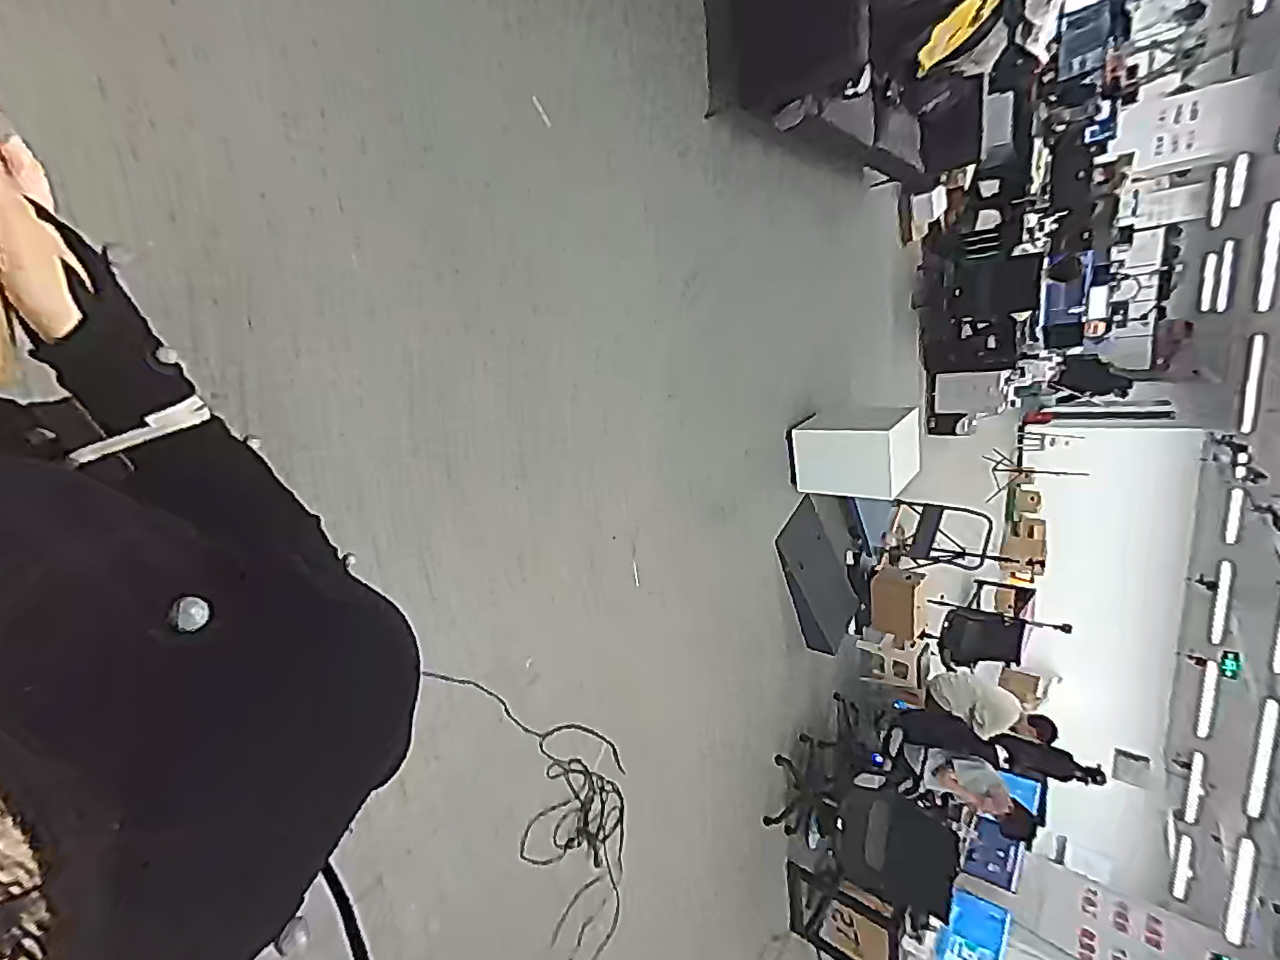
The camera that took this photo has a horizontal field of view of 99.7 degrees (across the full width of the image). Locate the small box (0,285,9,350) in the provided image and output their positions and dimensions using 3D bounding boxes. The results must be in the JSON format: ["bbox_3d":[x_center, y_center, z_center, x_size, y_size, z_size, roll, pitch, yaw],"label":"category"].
[{"bbox_3d":[-0.437,-0.172,0.253,0.168,0.176,0.179,-9,120,-48],"label":"small box"}]
